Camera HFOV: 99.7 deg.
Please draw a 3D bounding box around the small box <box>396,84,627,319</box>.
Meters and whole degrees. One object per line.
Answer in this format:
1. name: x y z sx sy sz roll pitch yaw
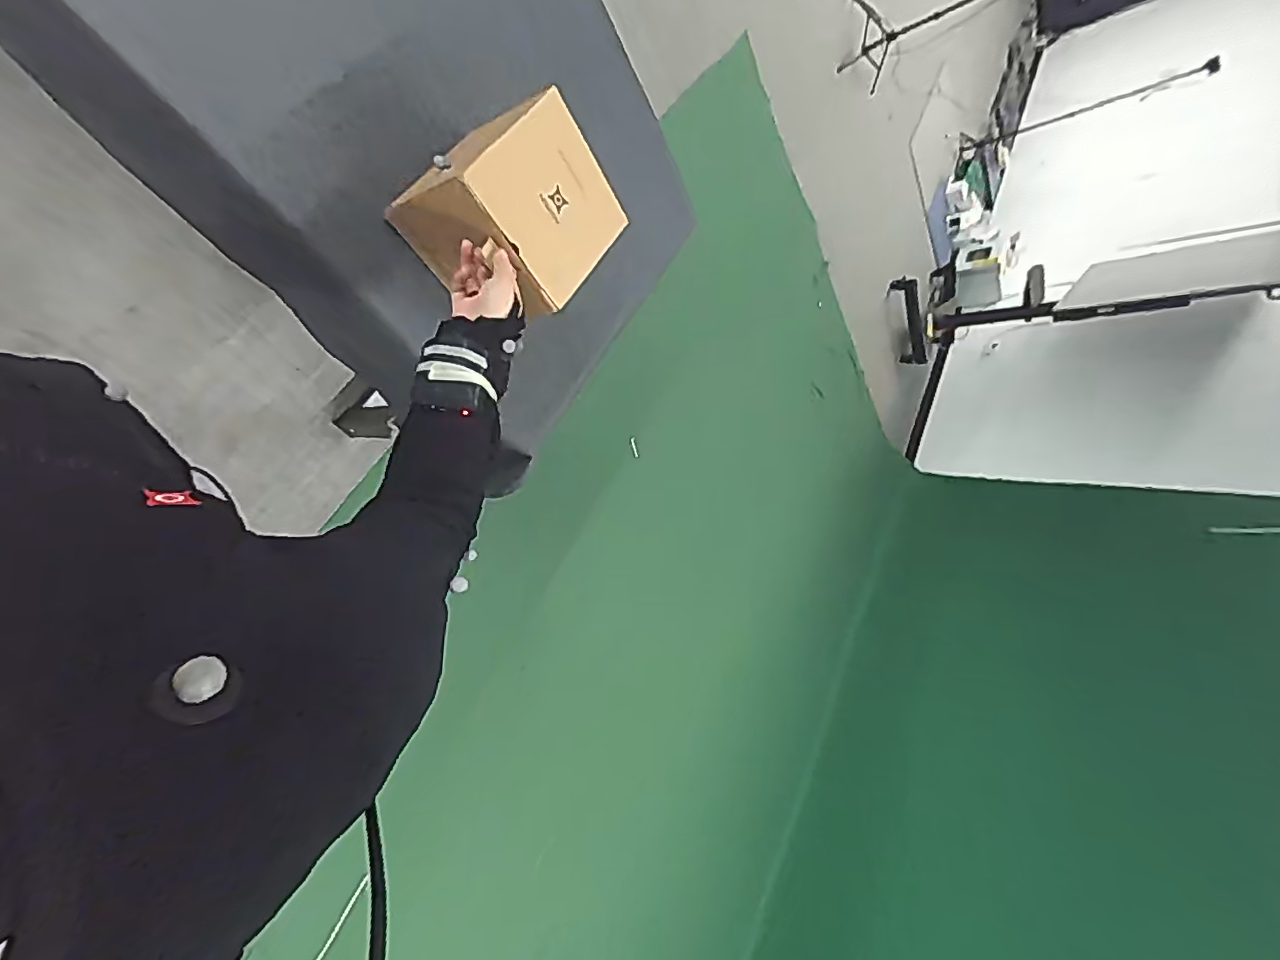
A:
1. small box: -0.152 -0.310 0.636 0.168 0.176 0.179 53 56 -42
